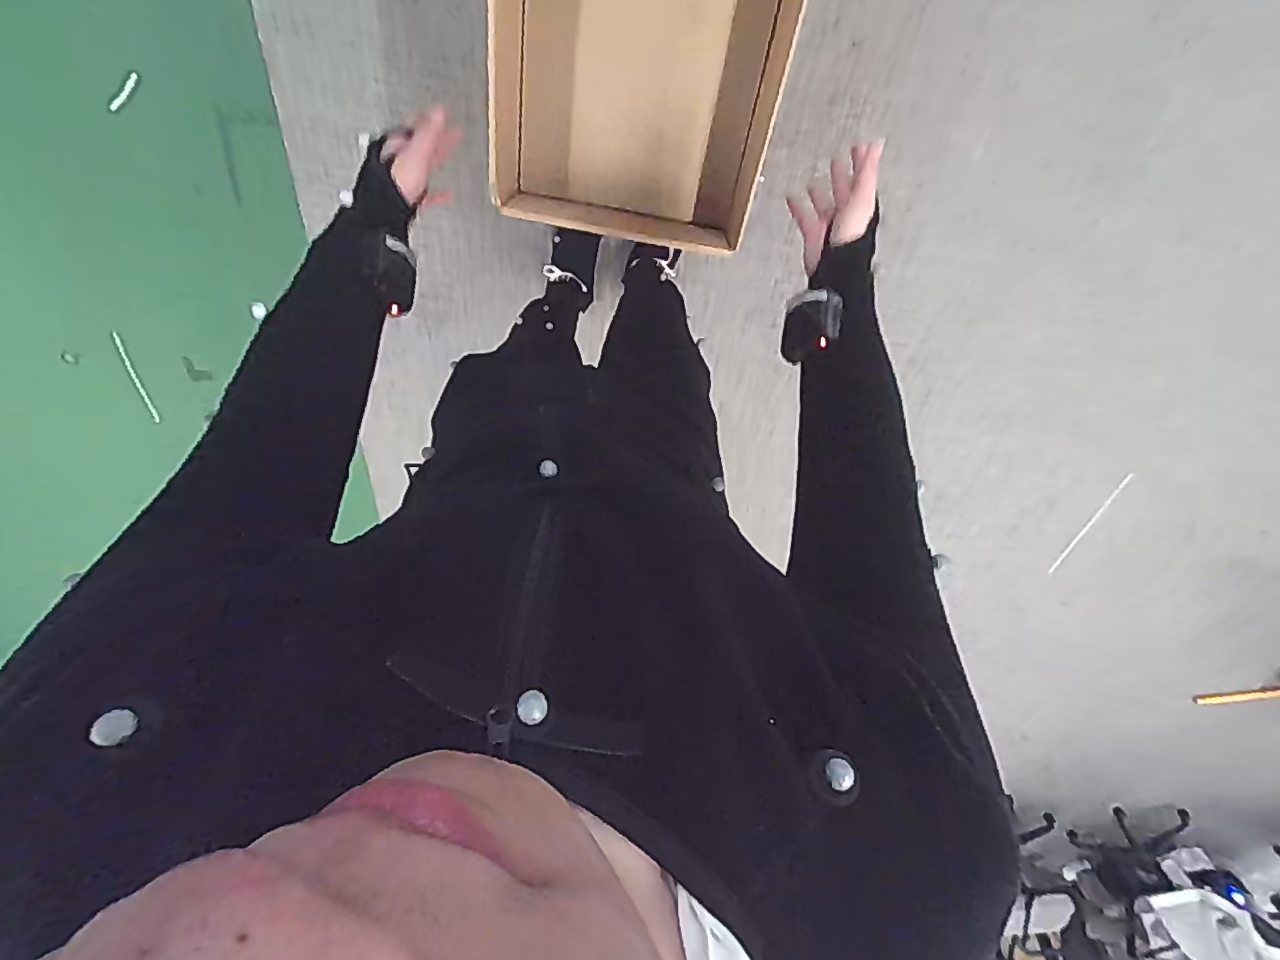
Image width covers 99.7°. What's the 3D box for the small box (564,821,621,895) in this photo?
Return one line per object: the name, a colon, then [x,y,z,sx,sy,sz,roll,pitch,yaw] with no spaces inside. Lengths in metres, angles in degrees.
small box: [-0.156,1.285,1.842,0.179,0.176,0.168,1,129,1]
